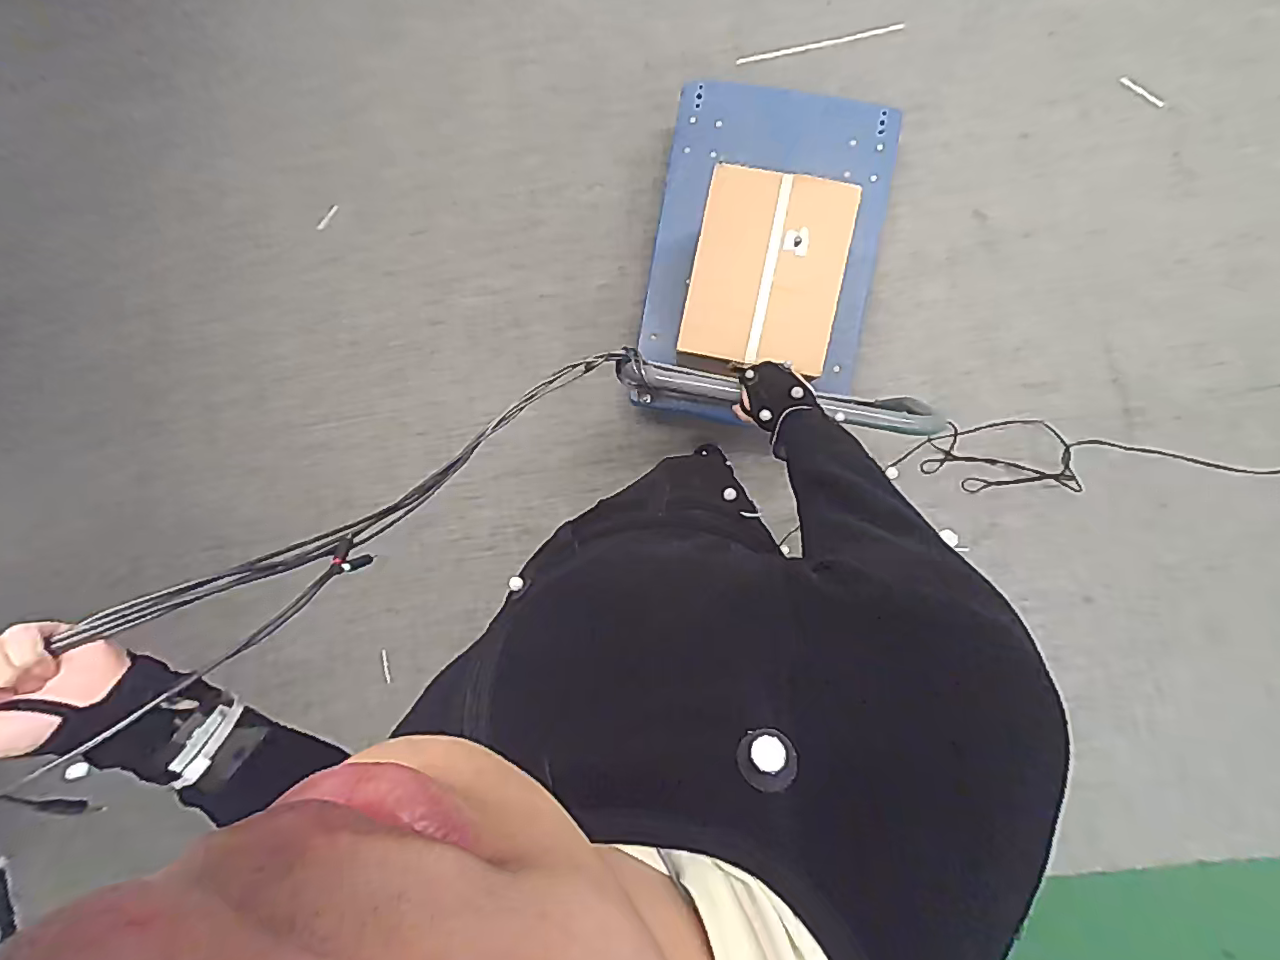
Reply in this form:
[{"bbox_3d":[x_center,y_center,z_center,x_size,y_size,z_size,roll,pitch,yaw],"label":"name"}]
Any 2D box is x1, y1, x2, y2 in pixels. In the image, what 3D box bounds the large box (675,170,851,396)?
[{"bbox_3d":[0.270,-0.441,1.298,0.320,0.320,0.408,12,91,2],"label":"large box"}]
